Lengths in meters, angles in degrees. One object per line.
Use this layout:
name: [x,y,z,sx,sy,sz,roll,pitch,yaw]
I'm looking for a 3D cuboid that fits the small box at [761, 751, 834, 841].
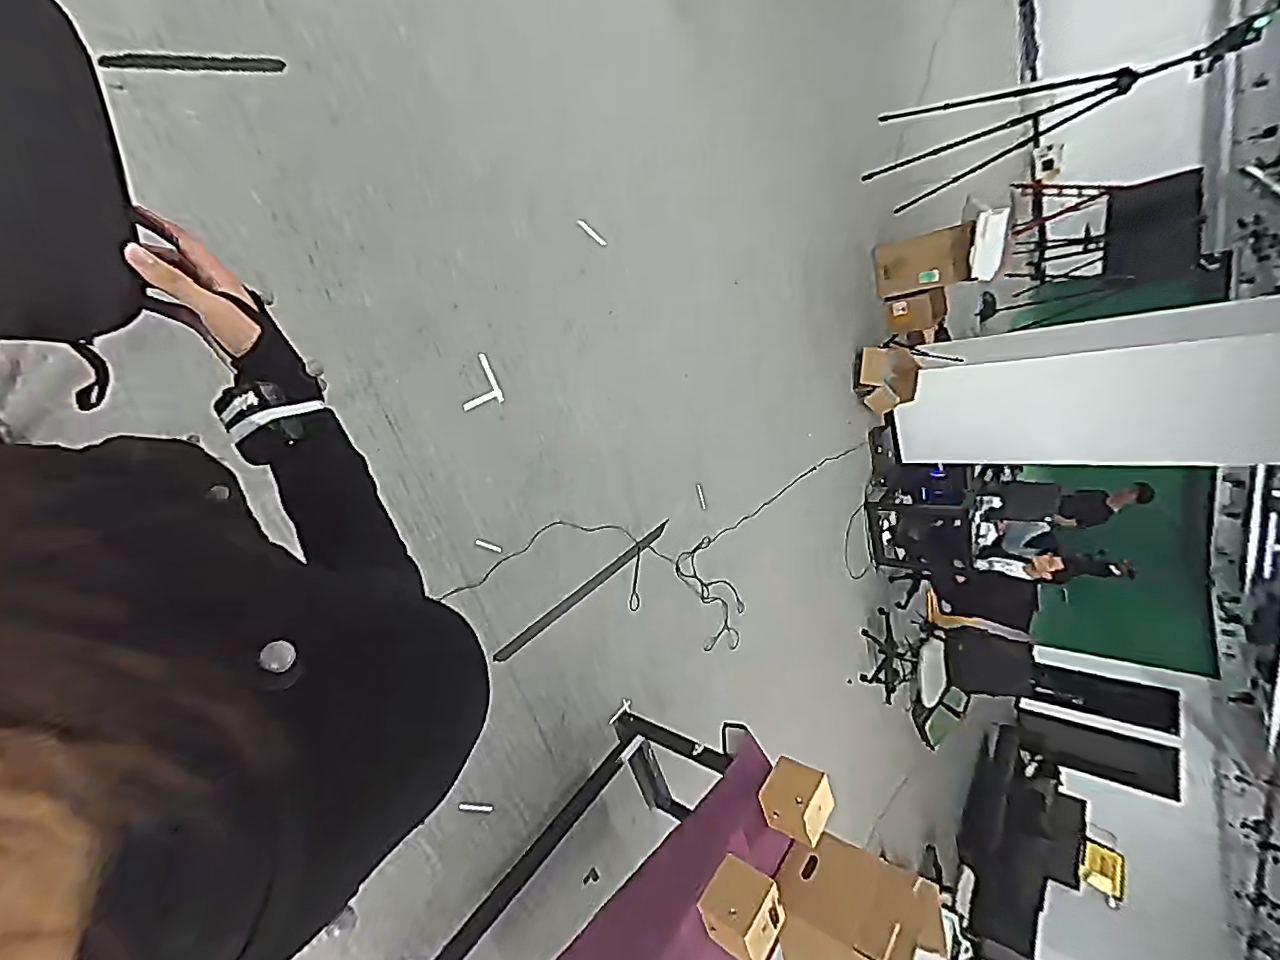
small box: [0.536,1.068,1.846,0.179,0.176,0.168,-38,118,-38]
